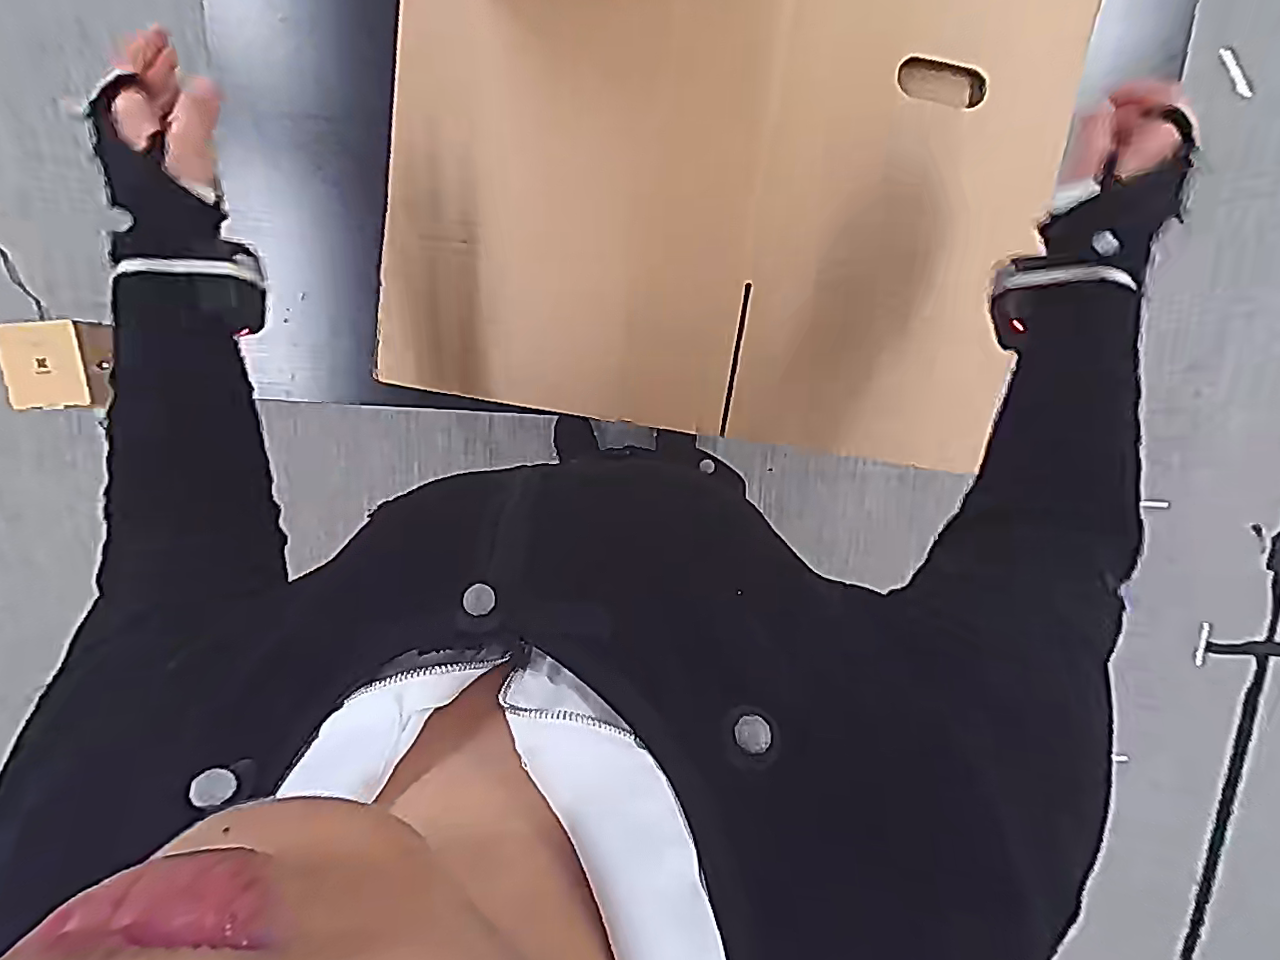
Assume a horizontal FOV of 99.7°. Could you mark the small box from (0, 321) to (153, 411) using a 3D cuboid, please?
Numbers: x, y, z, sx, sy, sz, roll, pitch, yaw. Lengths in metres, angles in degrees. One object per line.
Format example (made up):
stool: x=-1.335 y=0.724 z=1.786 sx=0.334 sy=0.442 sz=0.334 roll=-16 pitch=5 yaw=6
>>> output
small box: x=-1.226 y=-0.246 z=1.185 sx=0.168 sy=0.176 sz=0.179 roll=-4 pitch=99 yaw=-1
